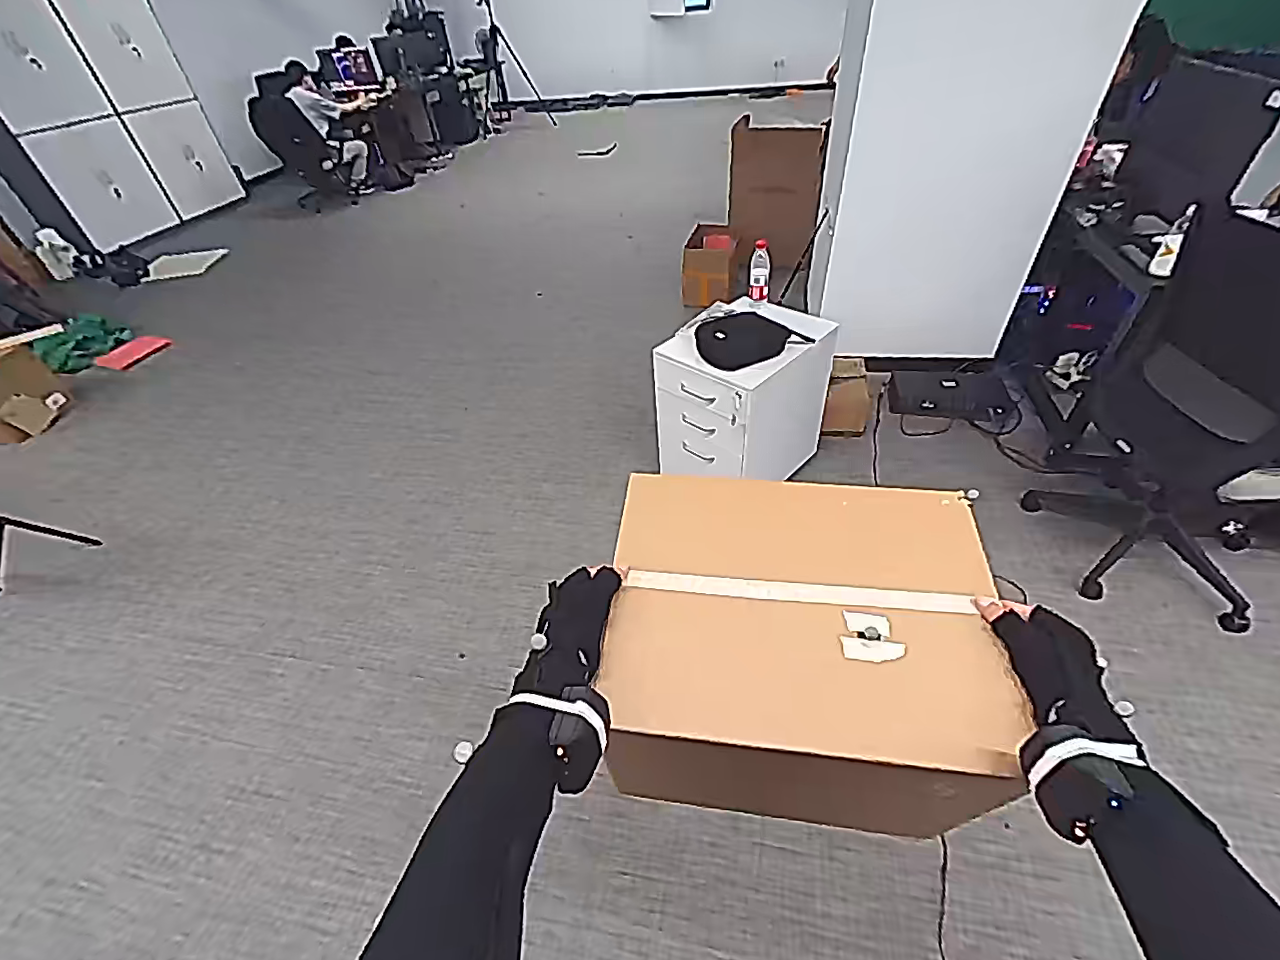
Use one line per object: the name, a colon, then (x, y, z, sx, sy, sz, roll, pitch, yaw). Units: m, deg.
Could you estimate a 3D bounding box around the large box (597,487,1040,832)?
large box: (0.178, 0.230, 0.699, 0.408, 0.320, 0.320, 3, 50, 8)
